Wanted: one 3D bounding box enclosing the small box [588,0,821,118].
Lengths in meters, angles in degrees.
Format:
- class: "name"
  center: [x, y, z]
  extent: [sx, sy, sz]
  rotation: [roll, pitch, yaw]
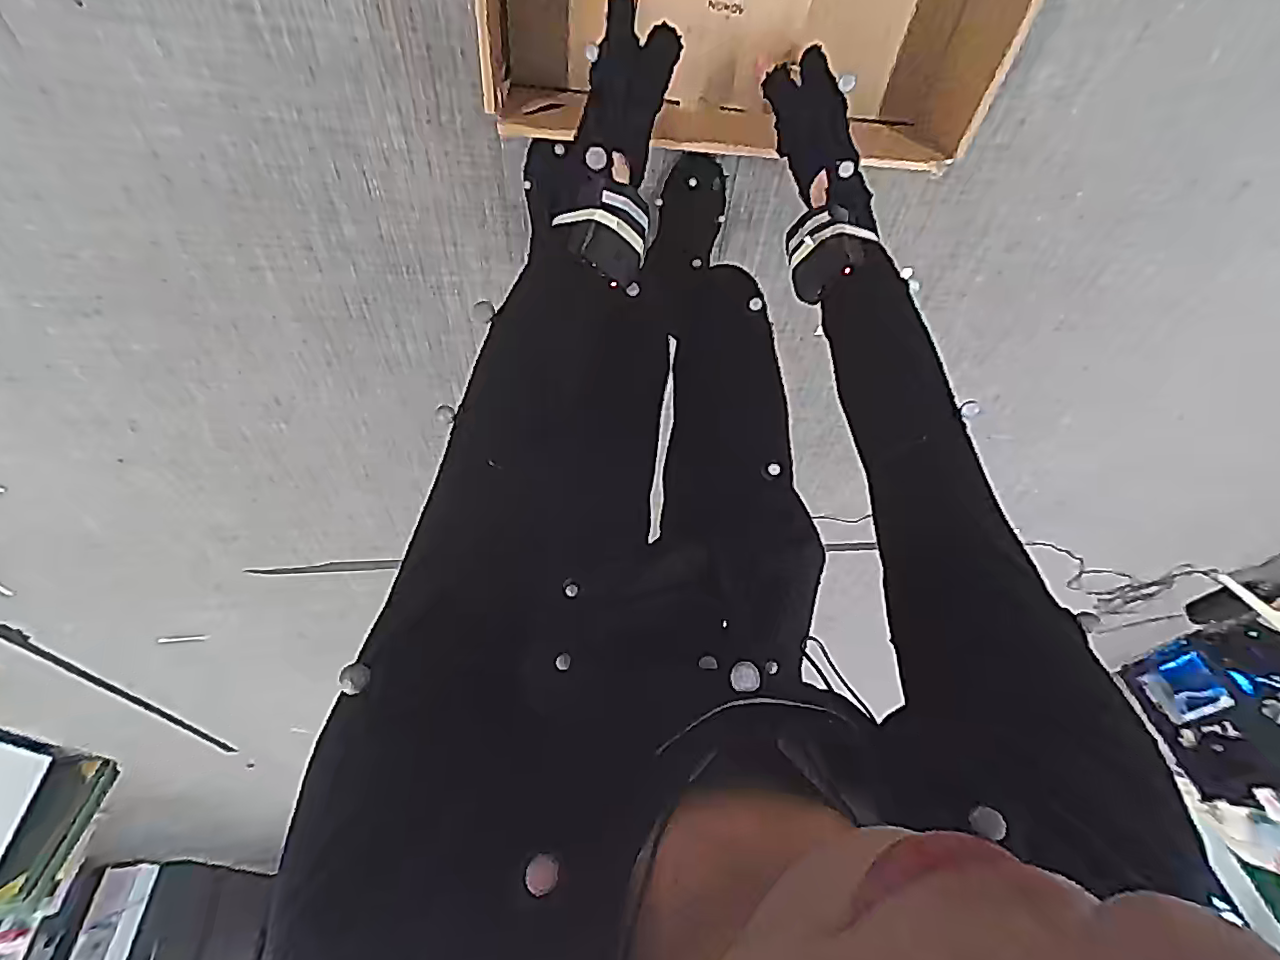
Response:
- class: "small box"
  center: [0.057, -0.472, 0.492]
  extent: [0.168, 0.176, 0.179]
  rotation: [-7, 145, -21]
